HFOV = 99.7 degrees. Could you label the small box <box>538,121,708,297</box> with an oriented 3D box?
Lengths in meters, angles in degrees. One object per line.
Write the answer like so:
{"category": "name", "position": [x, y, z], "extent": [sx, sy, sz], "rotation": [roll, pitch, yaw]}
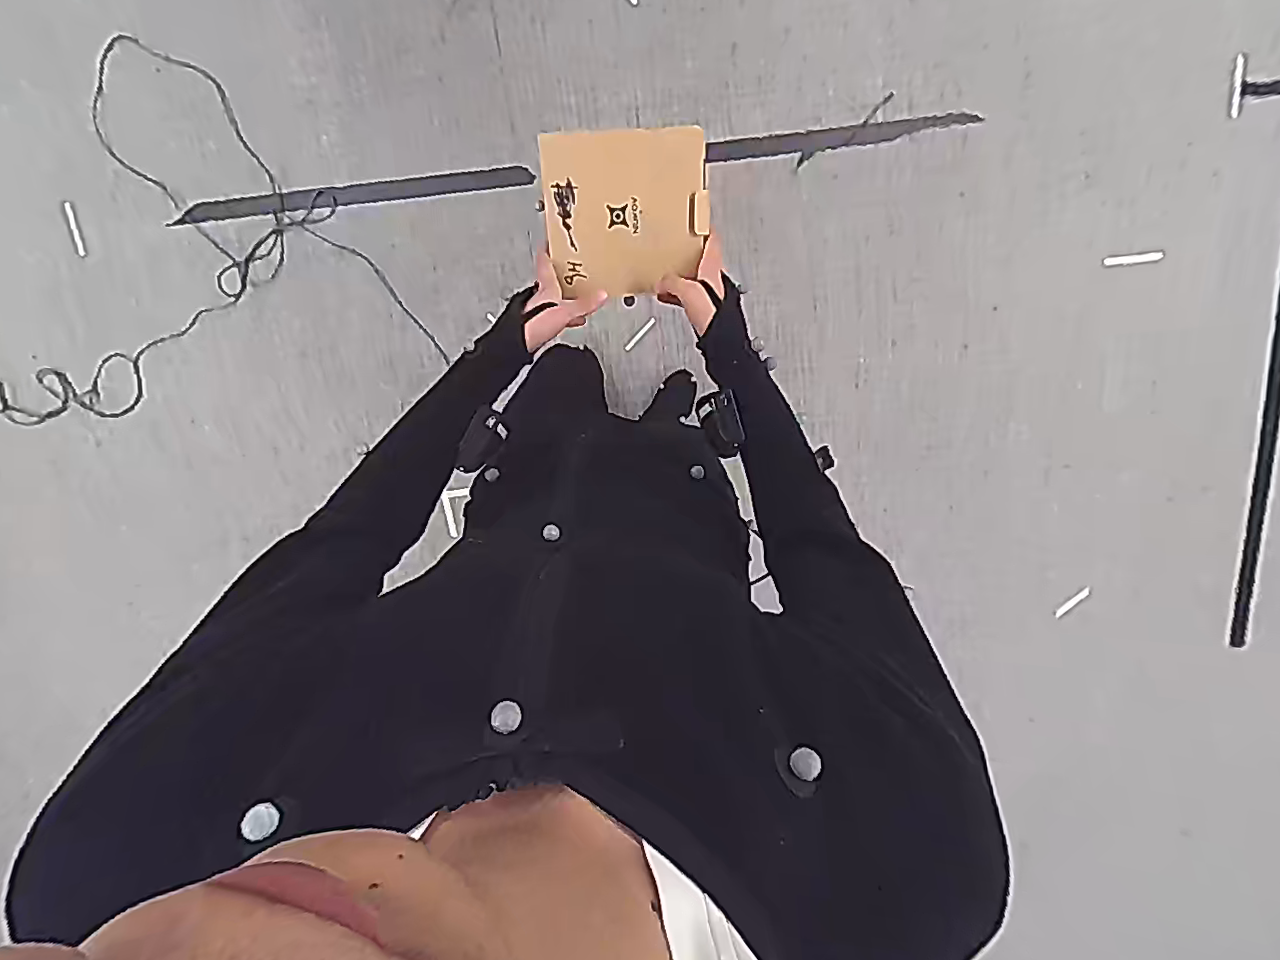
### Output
{"category": "small box", "position": [-0.019, -0.313, 0.649], "extent": [0.179, 0.176, 0.168], "rotation": [-4, 110, -1]}
